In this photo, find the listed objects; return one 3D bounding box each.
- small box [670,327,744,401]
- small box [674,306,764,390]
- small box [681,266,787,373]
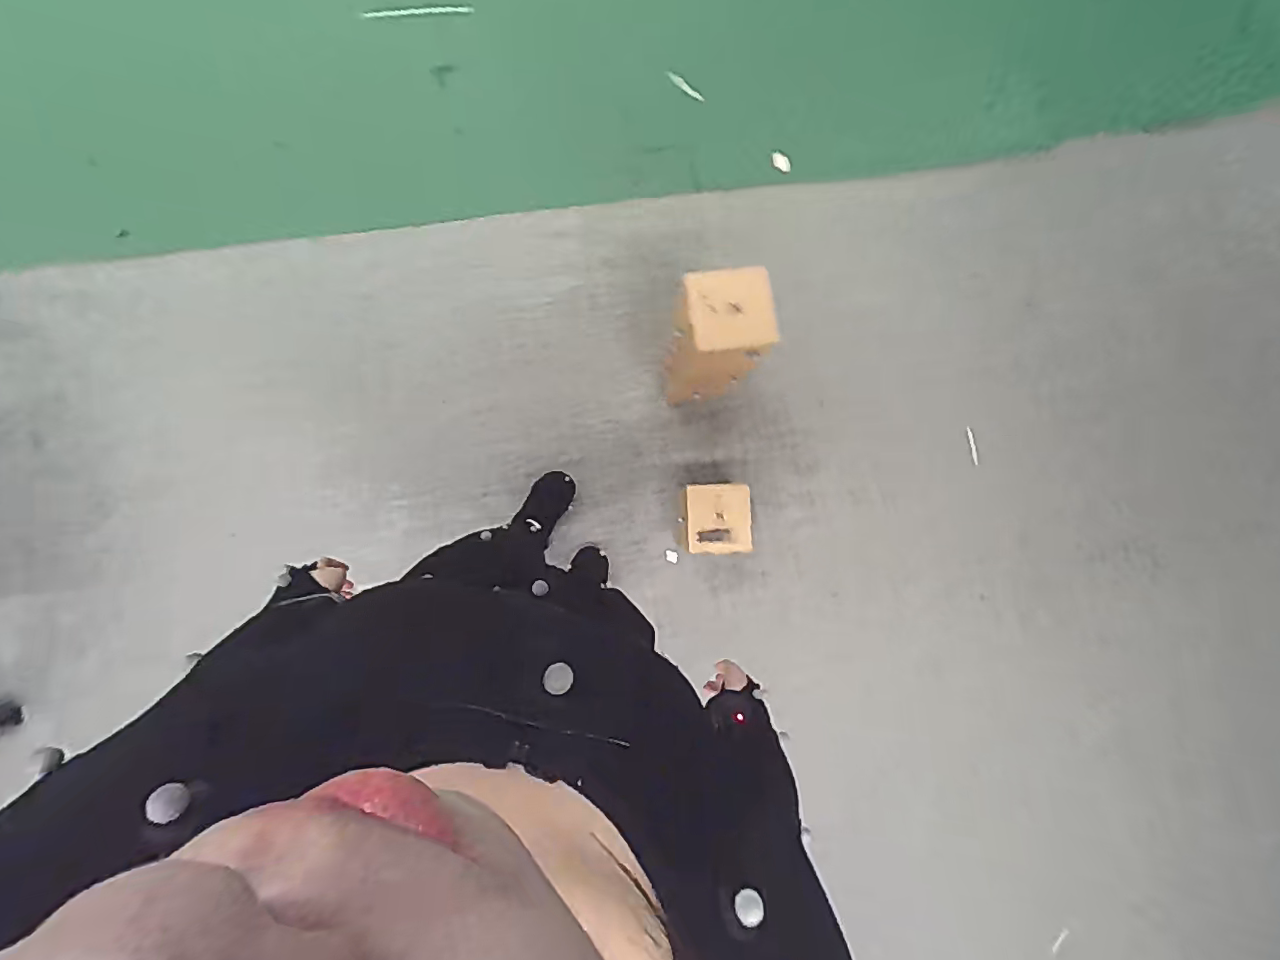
[{"bbox_3d":[0.177,-0.316,1.483,0.179,0.176,0.168,-4,86,-3],"label":"small box"},{"bbox_3d":[0.186,-0.326,1.321,0.179,0.176,0.168,-7,85,-3],"label":"small box"},{"bbox_3d":[0.194,-0.336,1.157,0.179,0.176,0.168,-7,85,-4],"label":"small box"}]
